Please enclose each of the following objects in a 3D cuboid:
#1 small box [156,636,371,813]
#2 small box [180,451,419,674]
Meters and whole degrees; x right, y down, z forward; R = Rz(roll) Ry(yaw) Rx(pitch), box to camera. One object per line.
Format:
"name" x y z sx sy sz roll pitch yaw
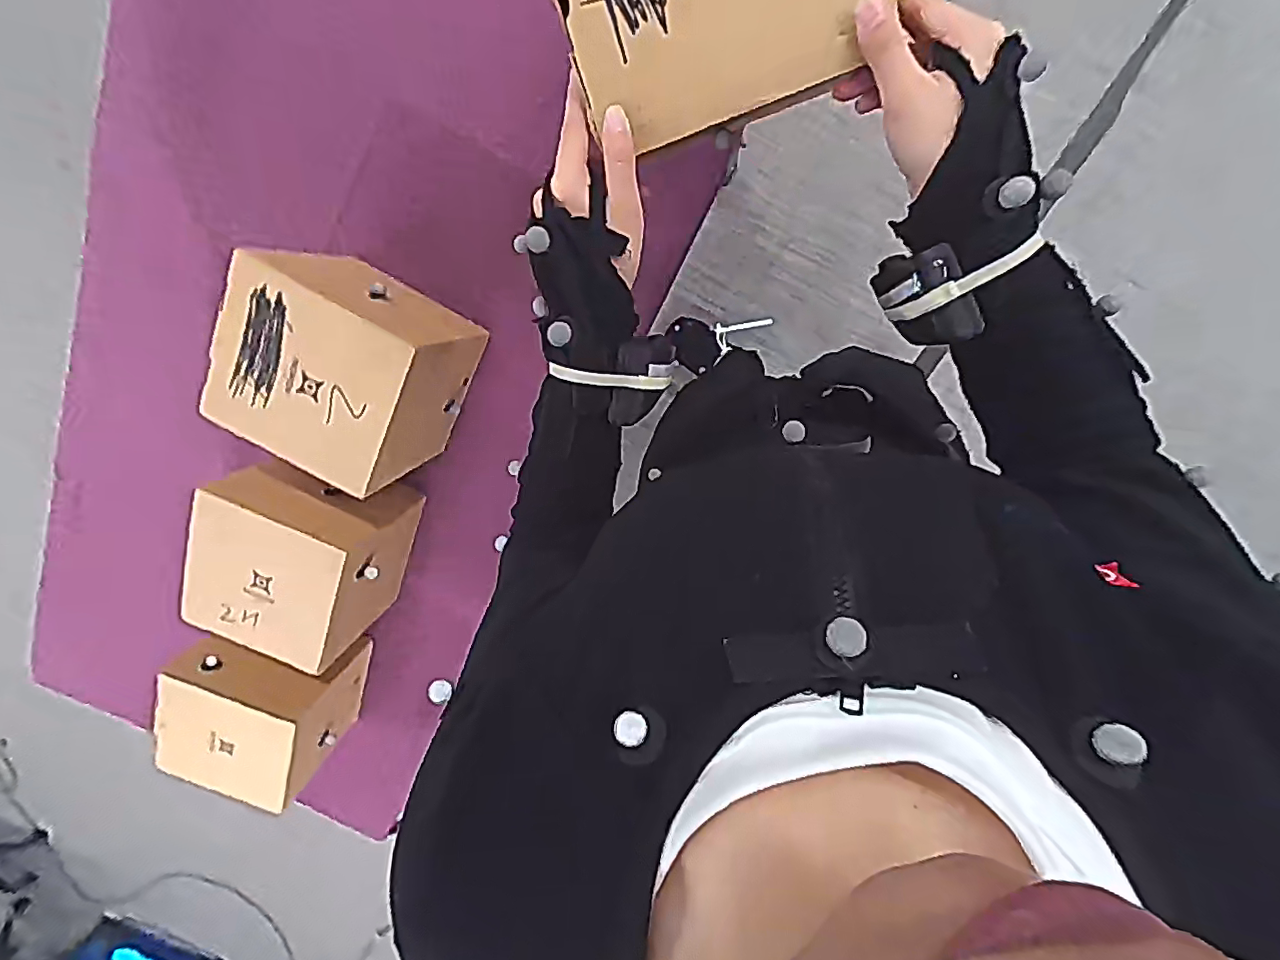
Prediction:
"small box" -0.500 0.299 0.736 0.179 0.176 0.168 21 110 0
"small box" -0.390 0.085 0.645 0.168 0.176 0.179 24 110 -1
